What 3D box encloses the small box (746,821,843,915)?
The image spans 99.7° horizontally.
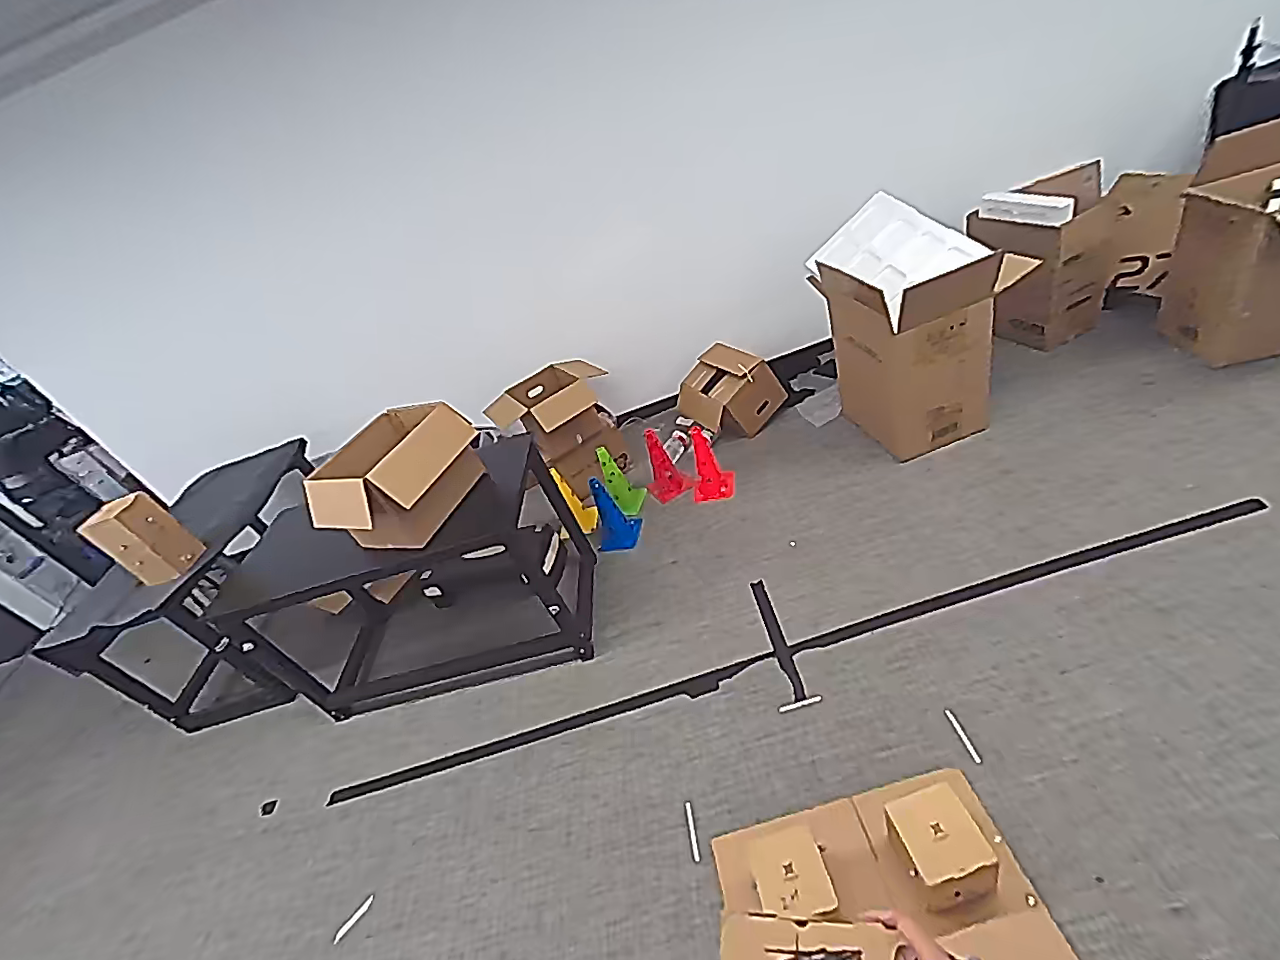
[{"bbox_3d":[0.369,0.959,1.285,0.168,0.176,0.179,-21,35,5],"label":"small box"}]

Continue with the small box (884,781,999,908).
[{"bbox_3d":[0.694,0.848,1.259,0.168,0.176,0.179,-22,35,2],"label":"small box"}]

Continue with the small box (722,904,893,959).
[{"bbox_3d":[0.172,0.560,0.540,0.168,0.176,0.179,-6,40,14],"label":"small box"}]
